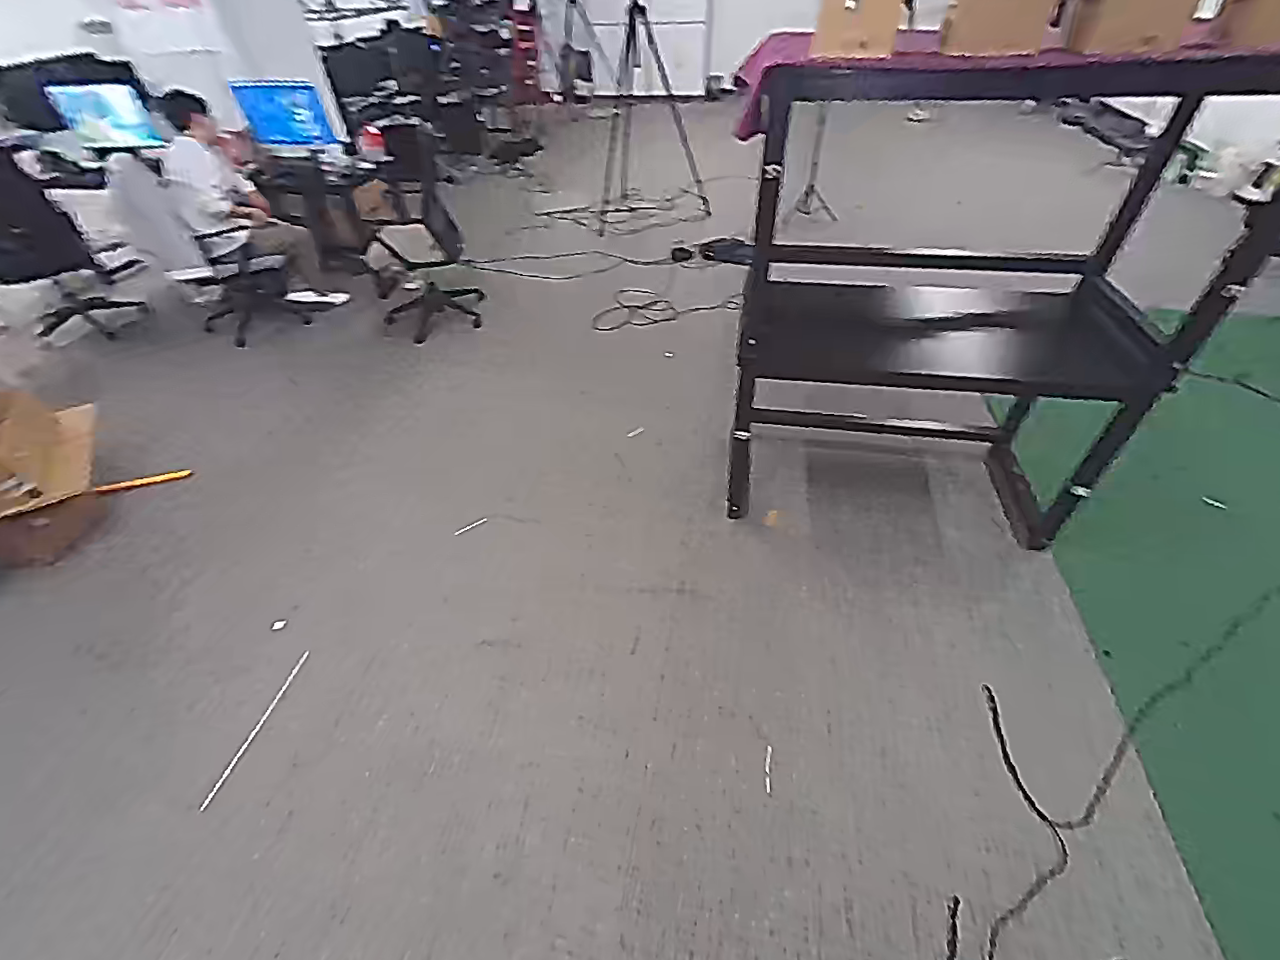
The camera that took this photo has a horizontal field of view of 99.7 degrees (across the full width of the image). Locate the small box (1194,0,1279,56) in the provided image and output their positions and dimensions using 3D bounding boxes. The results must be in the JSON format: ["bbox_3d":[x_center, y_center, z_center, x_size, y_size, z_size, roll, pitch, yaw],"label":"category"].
[{"bbox_3d":[1.243,-0.938,1.048,0.179,0.176,0.168,8,45,13],"label":"small box"}]

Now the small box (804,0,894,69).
[{"bbox_3d":[0.458,-1.011,1.183,0.168,0.176,0.179,8,42,12],"label":"small box"}]
